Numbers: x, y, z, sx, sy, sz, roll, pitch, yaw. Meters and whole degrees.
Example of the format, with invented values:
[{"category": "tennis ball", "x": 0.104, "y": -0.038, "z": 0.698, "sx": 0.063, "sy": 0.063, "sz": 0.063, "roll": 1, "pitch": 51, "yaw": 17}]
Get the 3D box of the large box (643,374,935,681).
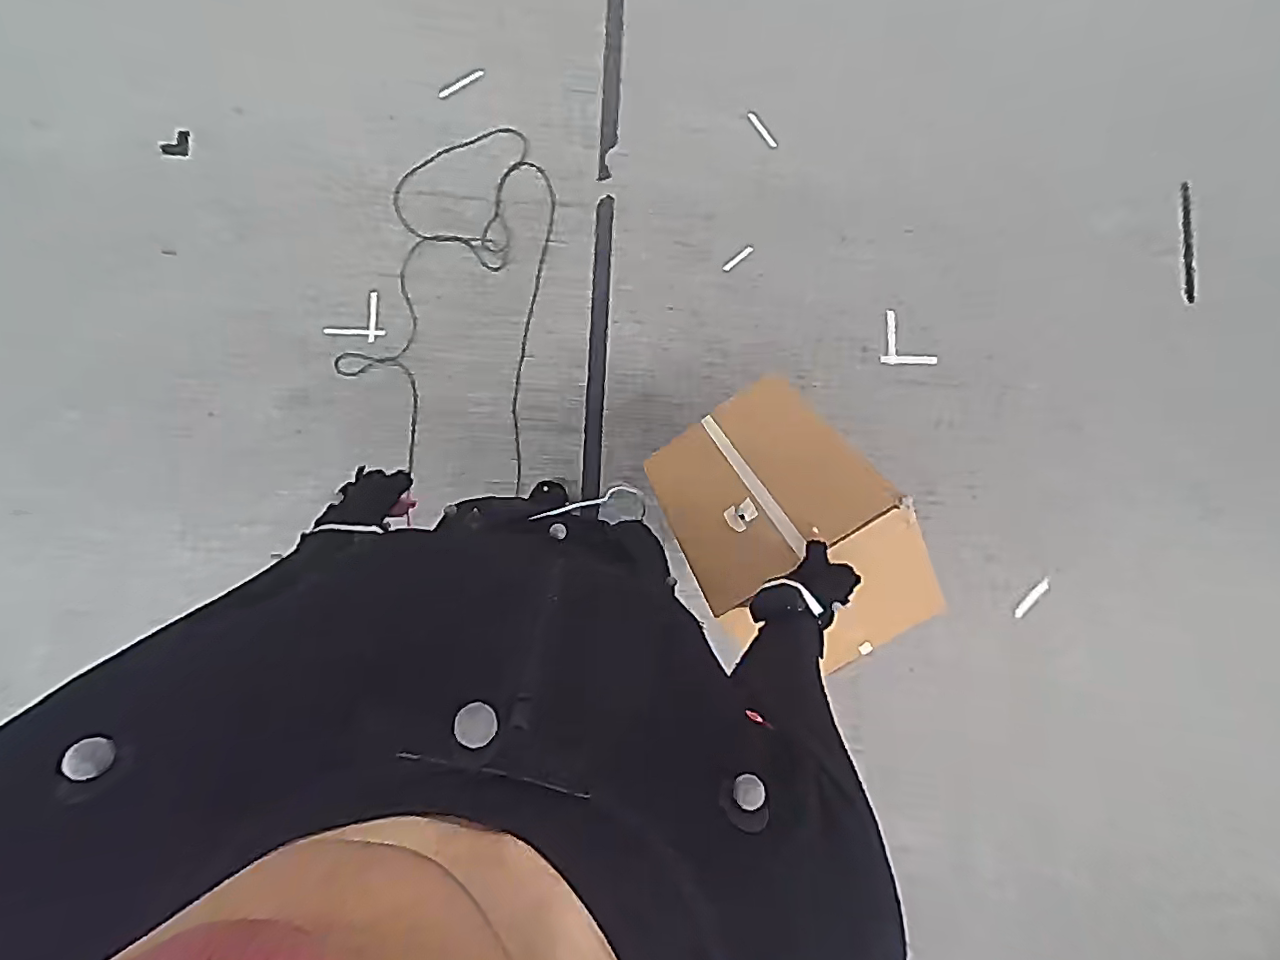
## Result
[{"category": "large box", "x": 0.258, "y": 0.079, "z": 1.003, "sx": 0.320, "sy": 0.408, "sz": 0.320, "roll": -35, "pitch": 130, "yaw": 9}]
